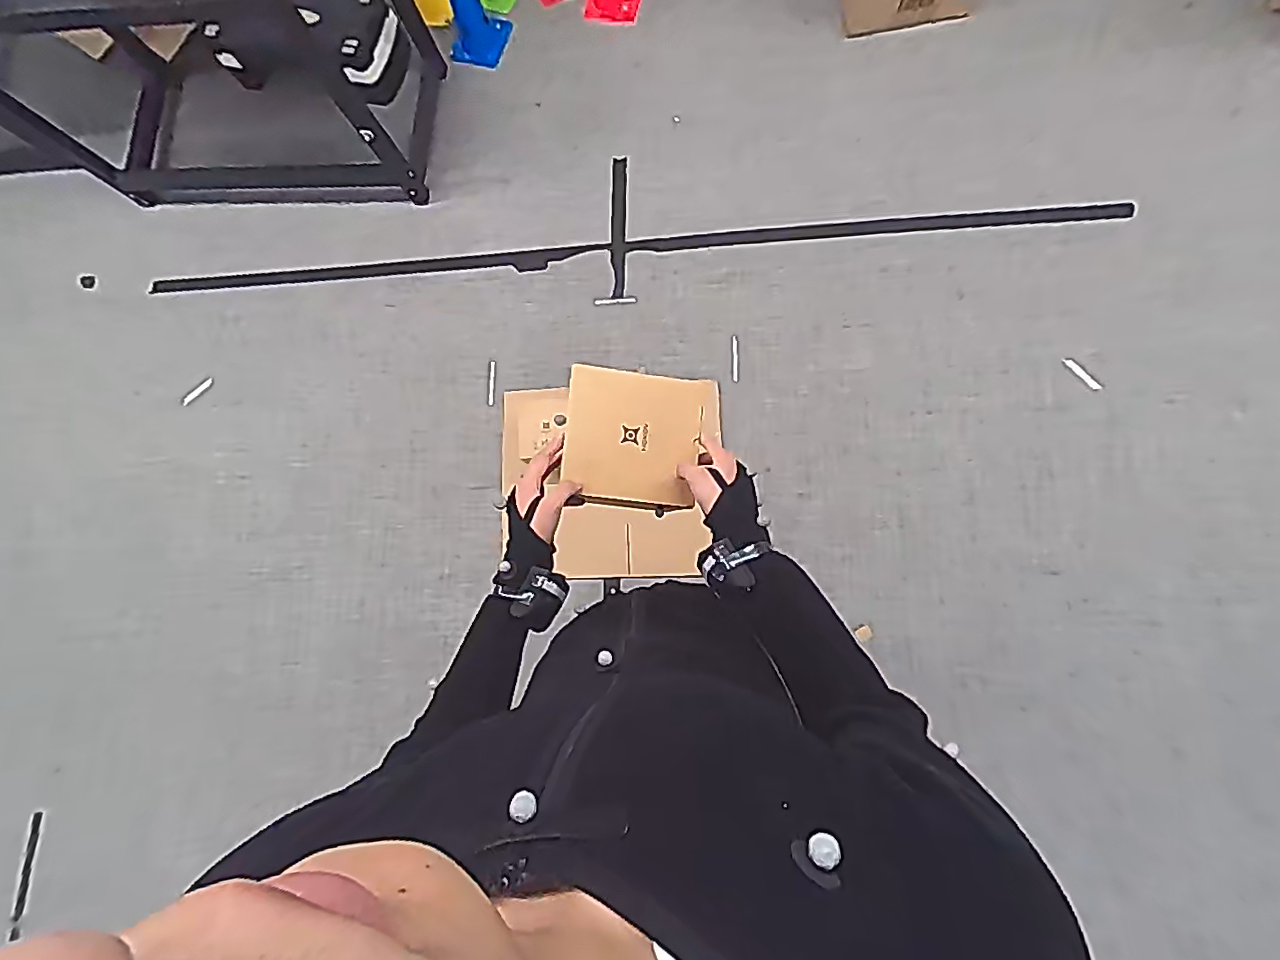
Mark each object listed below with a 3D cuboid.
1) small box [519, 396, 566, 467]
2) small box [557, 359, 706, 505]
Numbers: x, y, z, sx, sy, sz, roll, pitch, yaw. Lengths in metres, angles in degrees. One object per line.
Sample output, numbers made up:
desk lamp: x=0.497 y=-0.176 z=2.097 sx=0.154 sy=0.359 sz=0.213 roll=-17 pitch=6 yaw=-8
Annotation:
small box: x=-0.259 y=-0.143 z=1.638 sx=0.168 sy=0.176 sz=0.179 roll=-3 pitch=81 yaw=7
small box: x=-0.021 y=-0.055 z=0.754 sx=0.179 sy=0.176 sz=0.168 roll=7 pitch=85 yaw=-9
